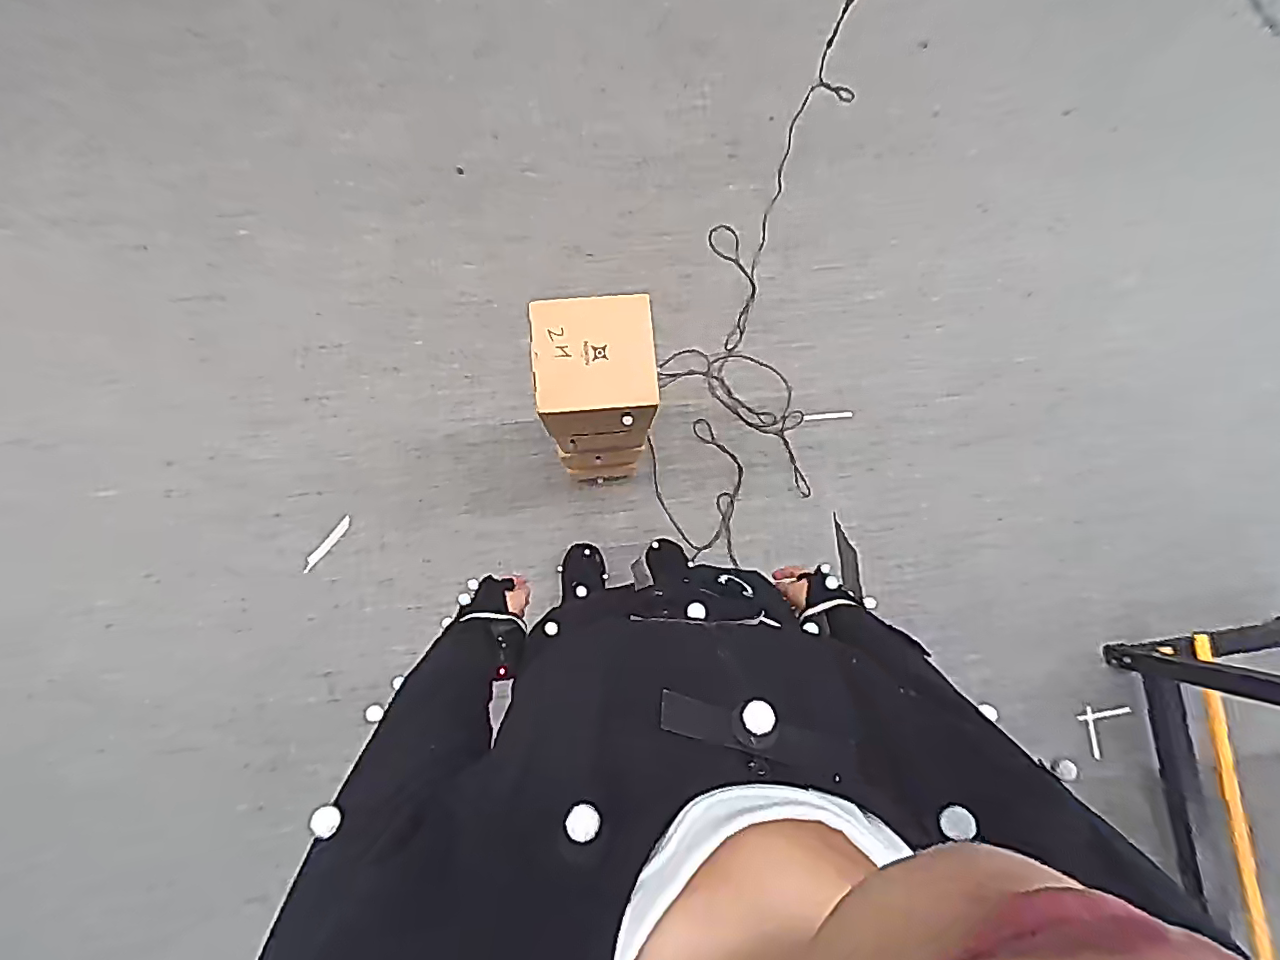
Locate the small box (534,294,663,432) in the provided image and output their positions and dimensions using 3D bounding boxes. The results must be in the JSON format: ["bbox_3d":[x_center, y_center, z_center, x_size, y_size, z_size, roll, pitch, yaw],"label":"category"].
[{"bbox_3d":[-0.064,-0.173,0.842,0.179,0.176,0.168,-4,83,-3],"label":"small box"}]

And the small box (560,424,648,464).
[{"bbox_3d":[-0.081,-0.129,1.169,0.179,0.176,0.168,-5,85,-3],"label":"small box"}]

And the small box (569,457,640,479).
[{"bbox_3d":[-0.091,-0.103,1.329,0.168,0.176,0.179,-5,85,-3],"label":"small box"}]
